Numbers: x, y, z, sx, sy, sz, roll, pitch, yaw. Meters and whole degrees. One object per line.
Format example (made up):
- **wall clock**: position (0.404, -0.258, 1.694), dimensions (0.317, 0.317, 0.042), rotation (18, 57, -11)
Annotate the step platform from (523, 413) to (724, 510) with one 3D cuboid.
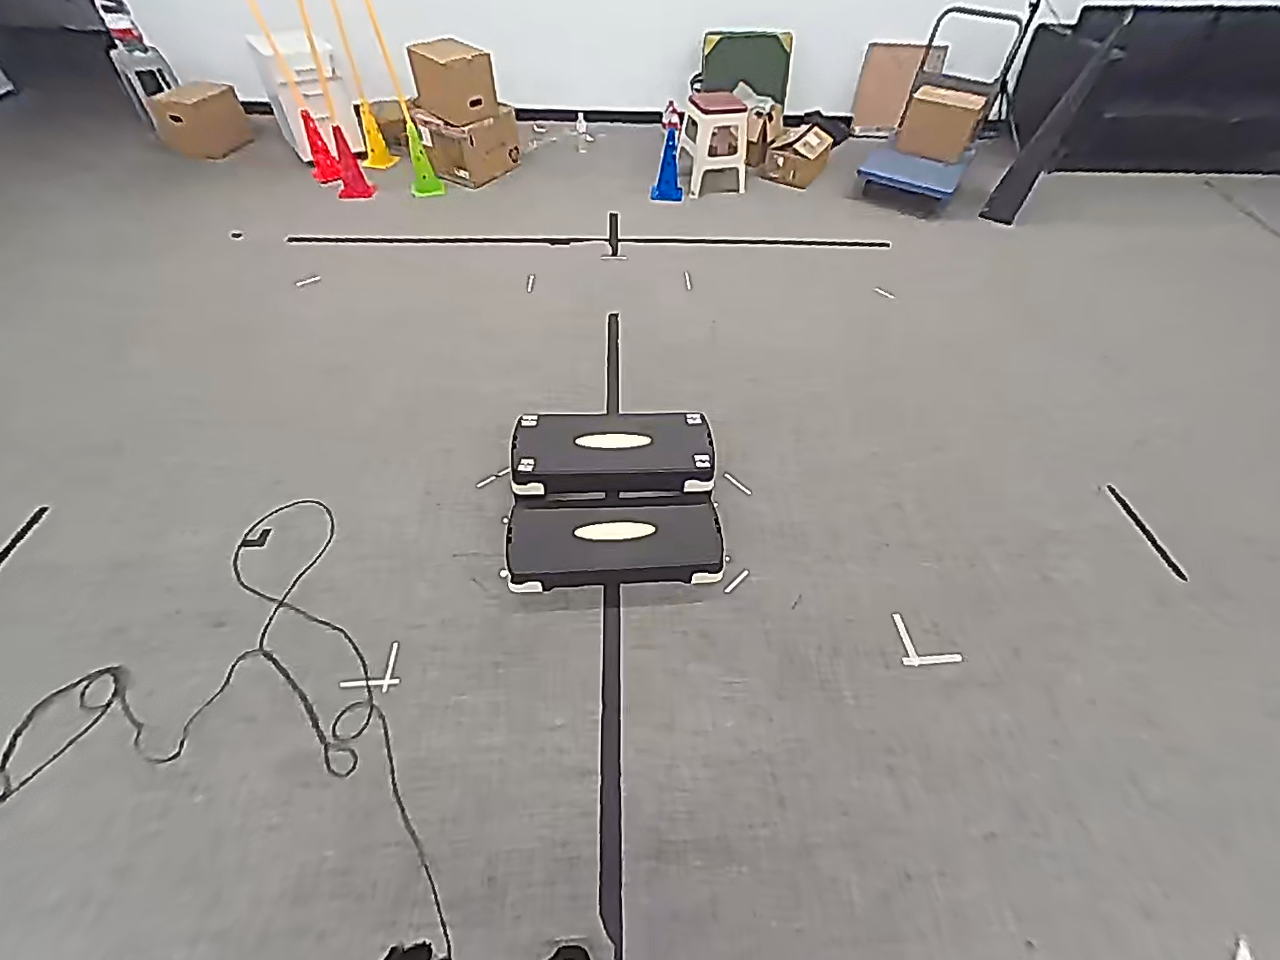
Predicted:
- **step platform**: position (-0.055, -0.071, 1.864), dimensions (0.684, 0.204, 0.286), rotation (-1, 50, -5)
